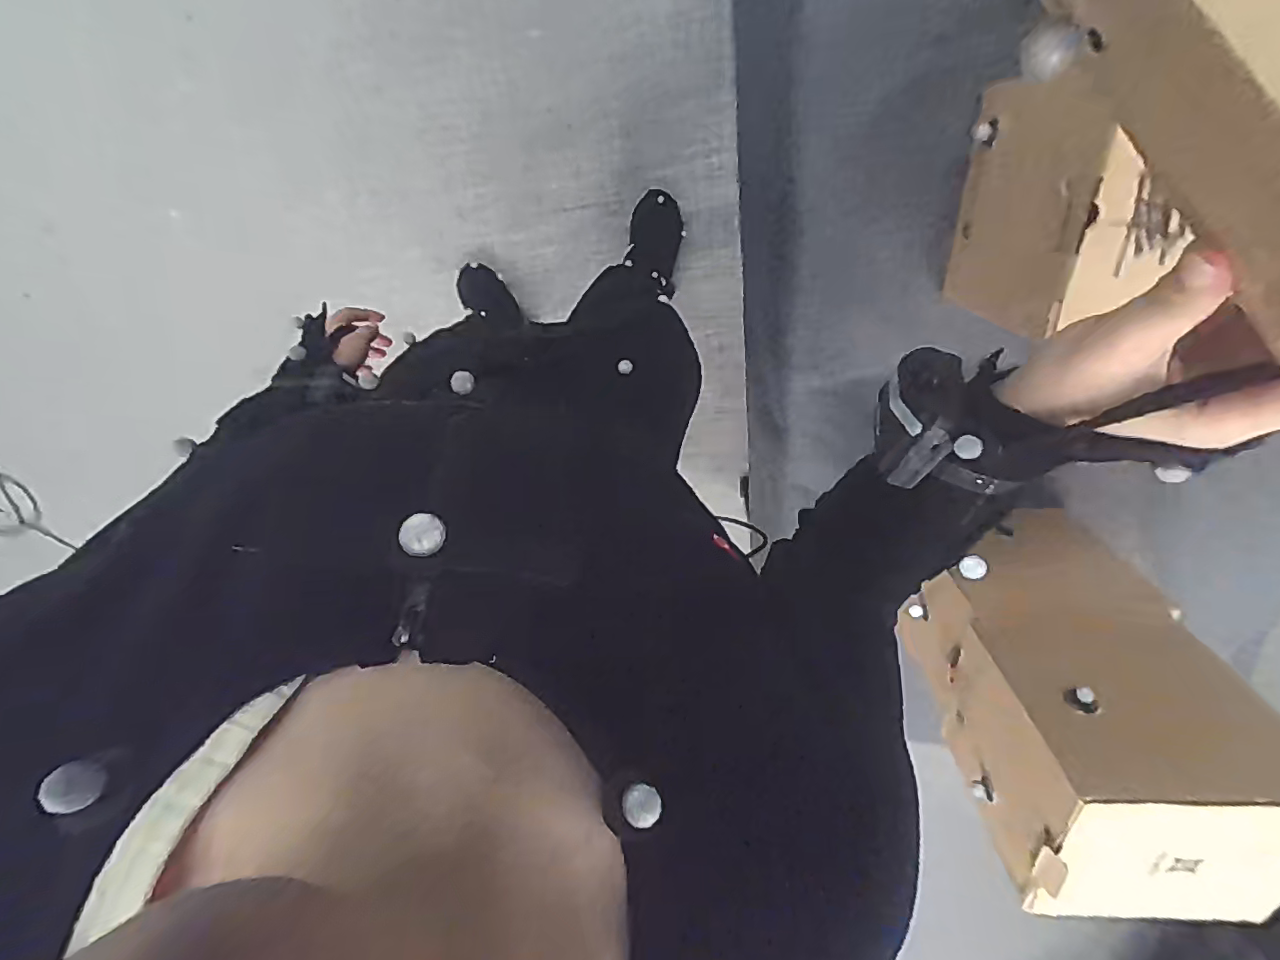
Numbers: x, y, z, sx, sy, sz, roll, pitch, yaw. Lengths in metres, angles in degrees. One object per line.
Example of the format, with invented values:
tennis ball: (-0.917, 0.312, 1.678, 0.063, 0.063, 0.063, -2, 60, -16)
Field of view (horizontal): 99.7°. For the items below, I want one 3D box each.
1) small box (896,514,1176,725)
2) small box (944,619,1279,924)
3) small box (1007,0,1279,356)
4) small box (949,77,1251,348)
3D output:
small box: (0.404, 0.150, 0.596, 0.179, 0.176, 0.168, -3, 120, 6)
small box: (0.390, 0.236, 0.458, 0.179, 0.176, 0.168, -4, 120, 6)
small box: (0.180, -0.149, 0.093, 0.168, 0.176, 0.179, 0, 157, -41)
small box: (0.362, -0.203, 0.398, 0.179, 0.176, 0.168, -2, 120, 4)
